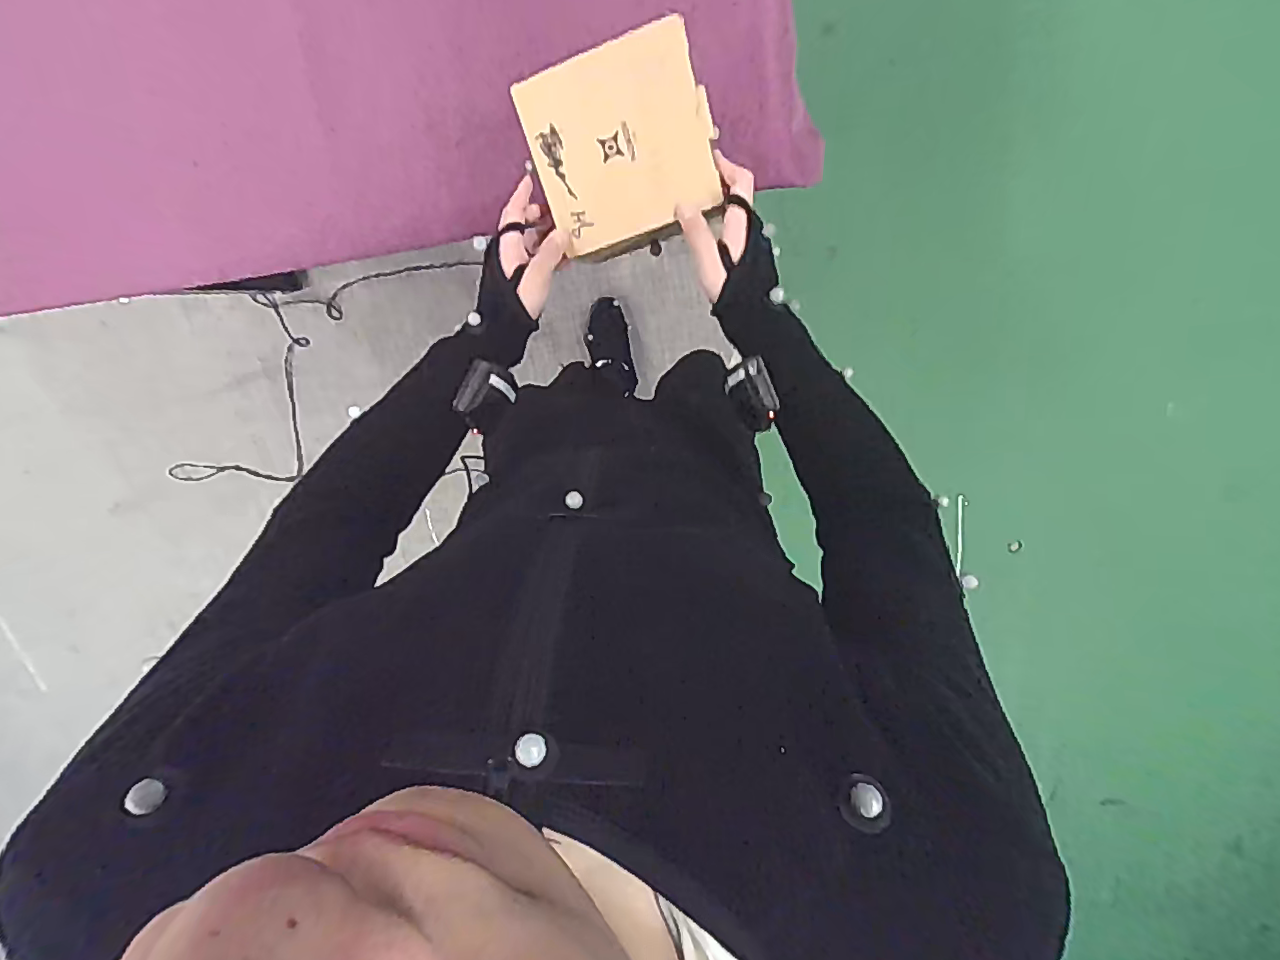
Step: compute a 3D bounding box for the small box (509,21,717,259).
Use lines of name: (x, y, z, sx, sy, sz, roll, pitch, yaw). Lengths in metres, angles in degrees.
small box: (-0.019, -0.363, 0.617, 0.179, 0.176, 0.168, -15, 108, 12)
